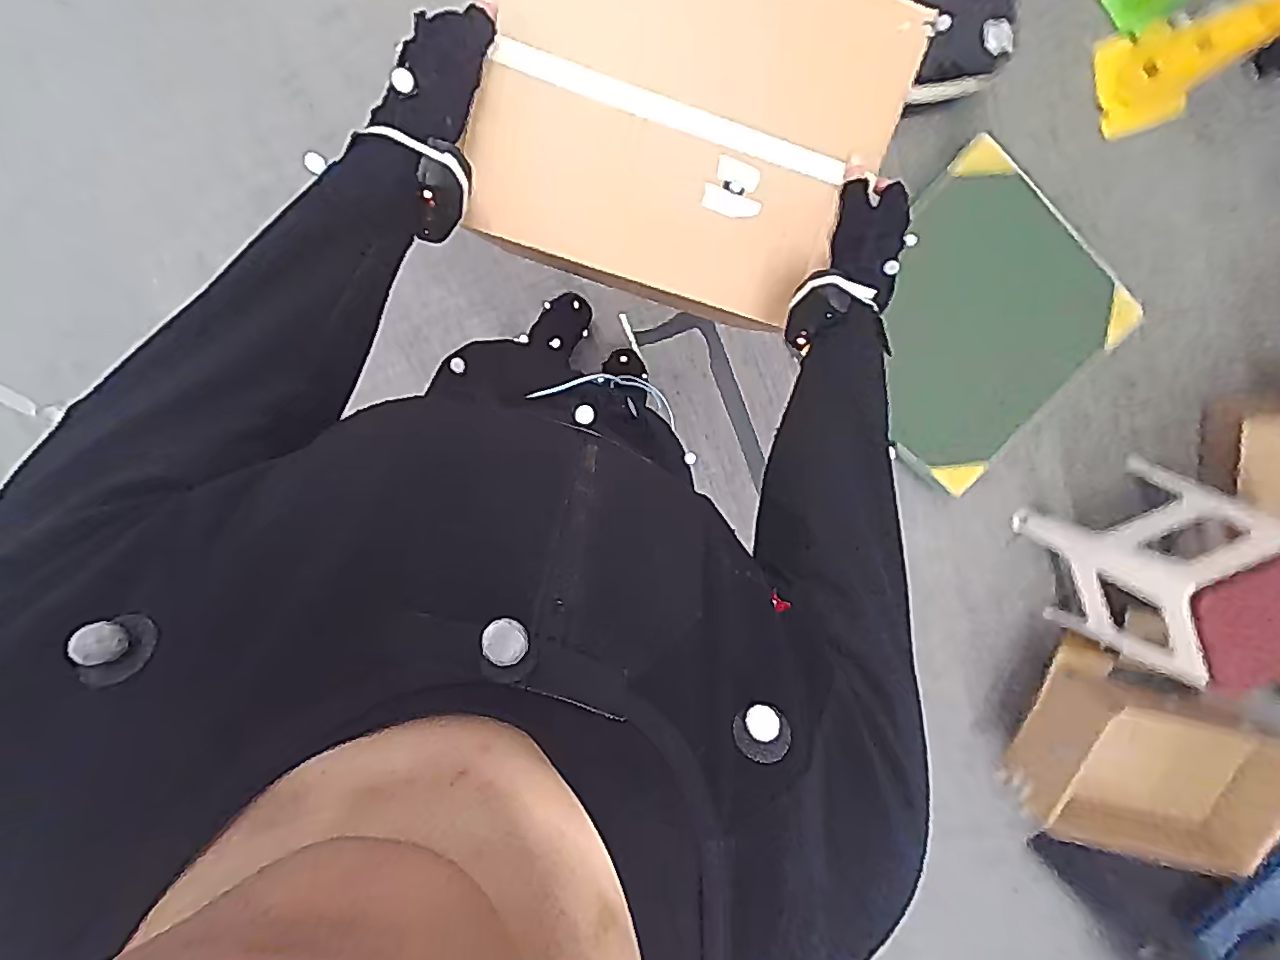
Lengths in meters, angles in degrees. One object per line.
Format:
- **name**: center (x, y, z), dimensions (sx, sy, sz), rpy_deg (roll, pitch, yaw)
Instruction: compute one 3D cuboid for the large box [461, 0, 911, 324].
- **large box**: center (0.028, -0.405, 0.687), dimensions (0.408, 0.320, 0.320), rpy_deg (13, 107, -9)
